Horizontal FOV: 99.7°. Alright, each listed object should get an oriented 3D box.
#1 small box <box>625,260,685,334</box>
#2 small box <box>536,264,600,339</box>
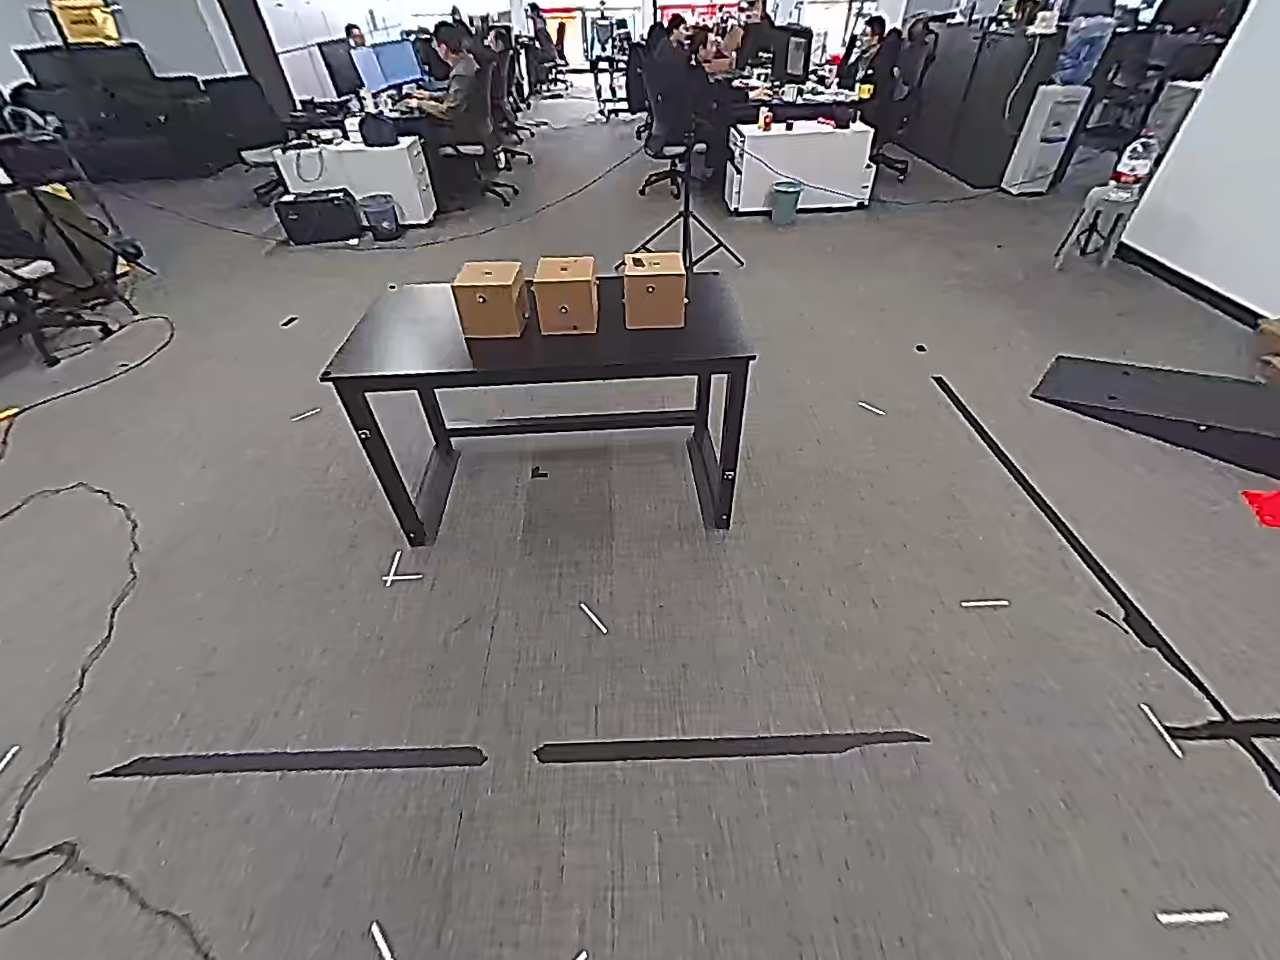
[{"bbox_3d":[0.047,-0.561,1.661,0.179,0.176,0.168,-1,42,0],"label":"small box"},{"bbox_3d":[-0.213,-0.542,1.651,0.168,0.176,0.179,-2,42,0],"label":"small box"}]
